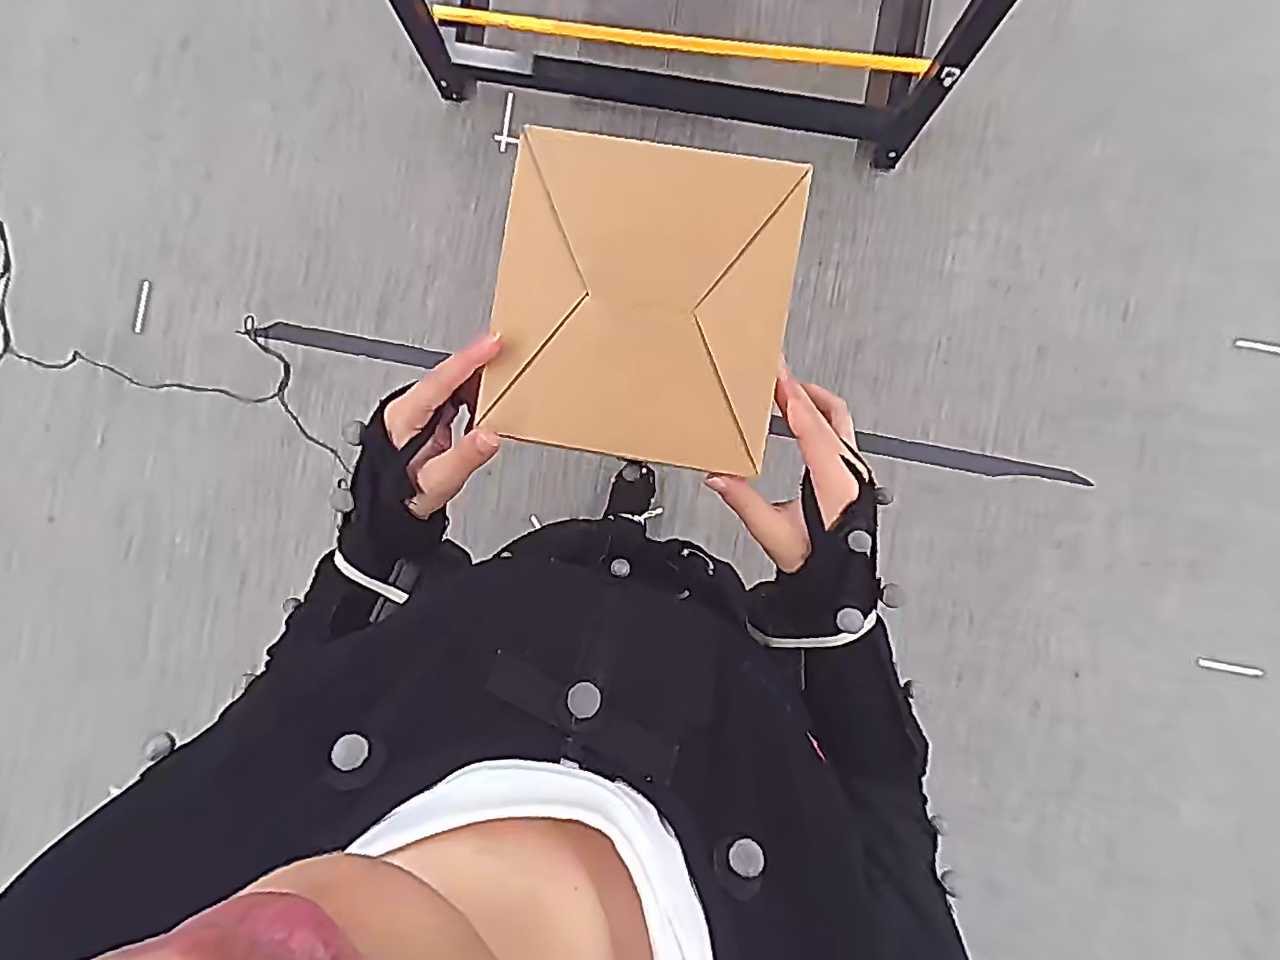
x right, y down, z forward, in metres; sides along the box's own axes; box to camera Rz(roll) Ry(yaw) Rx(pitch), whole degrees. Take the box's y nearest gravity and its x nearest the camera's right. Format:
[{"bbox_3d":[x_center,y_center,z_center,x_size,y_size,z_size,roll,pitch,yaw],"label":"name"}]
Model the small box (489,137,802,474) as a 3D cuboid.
[{"bbox_3d":[0.004,-0.102,0.388,0.168,0.176,0.179,10,92,2],"label":"small box"}]
